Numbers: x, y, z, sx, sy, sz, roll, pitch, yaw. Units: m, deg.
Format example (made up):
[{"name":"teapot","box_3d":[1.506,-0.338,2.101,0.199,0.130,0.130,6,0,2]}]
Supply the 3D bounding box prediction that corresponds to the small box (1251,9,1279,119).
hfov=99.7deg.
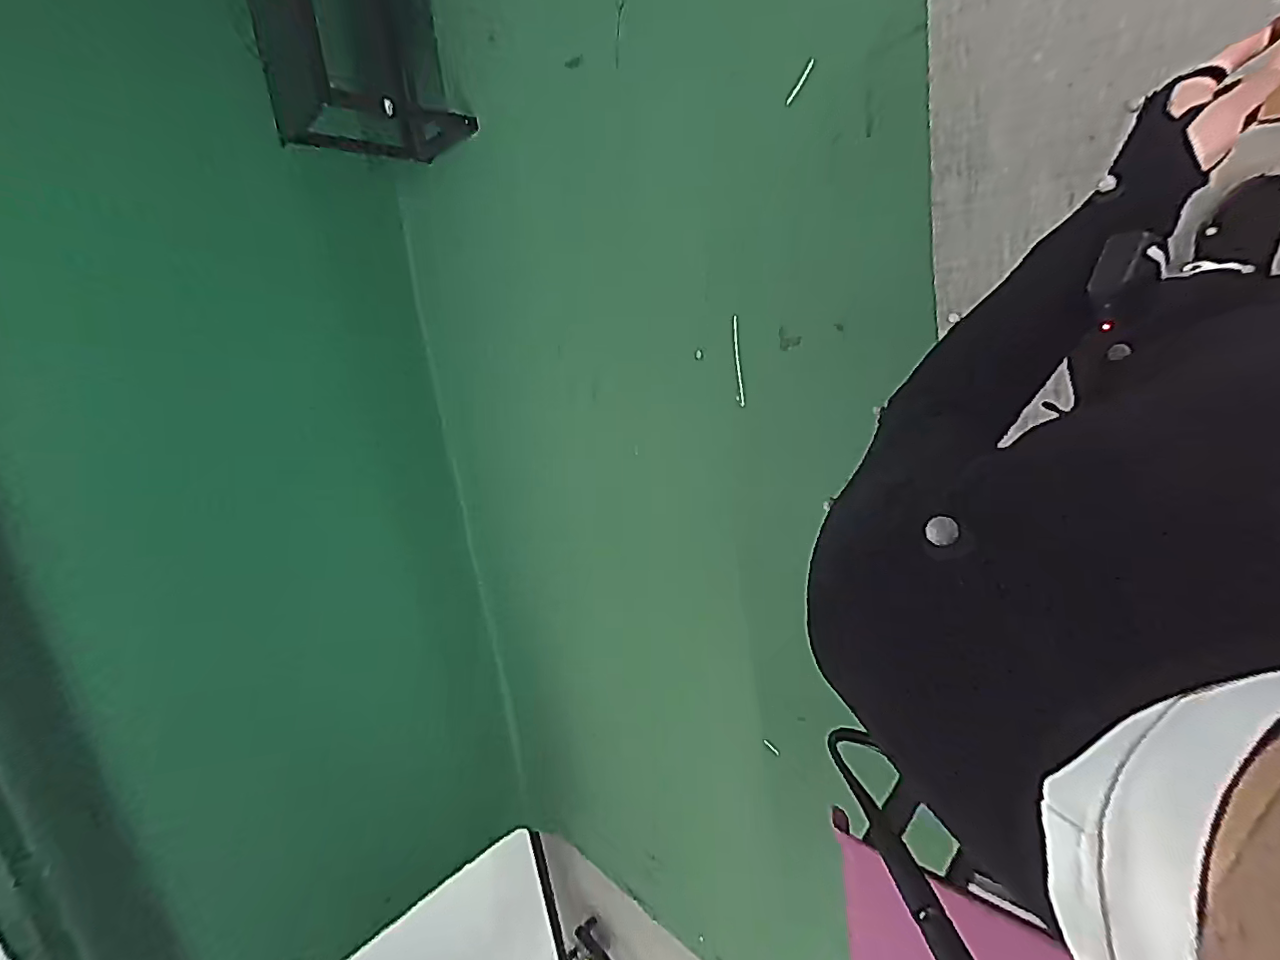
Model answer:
[{"name":"small box","box_3d":[0.598,-0.385,0.398,0.168,0.176,0.179,19,126,42]}]
